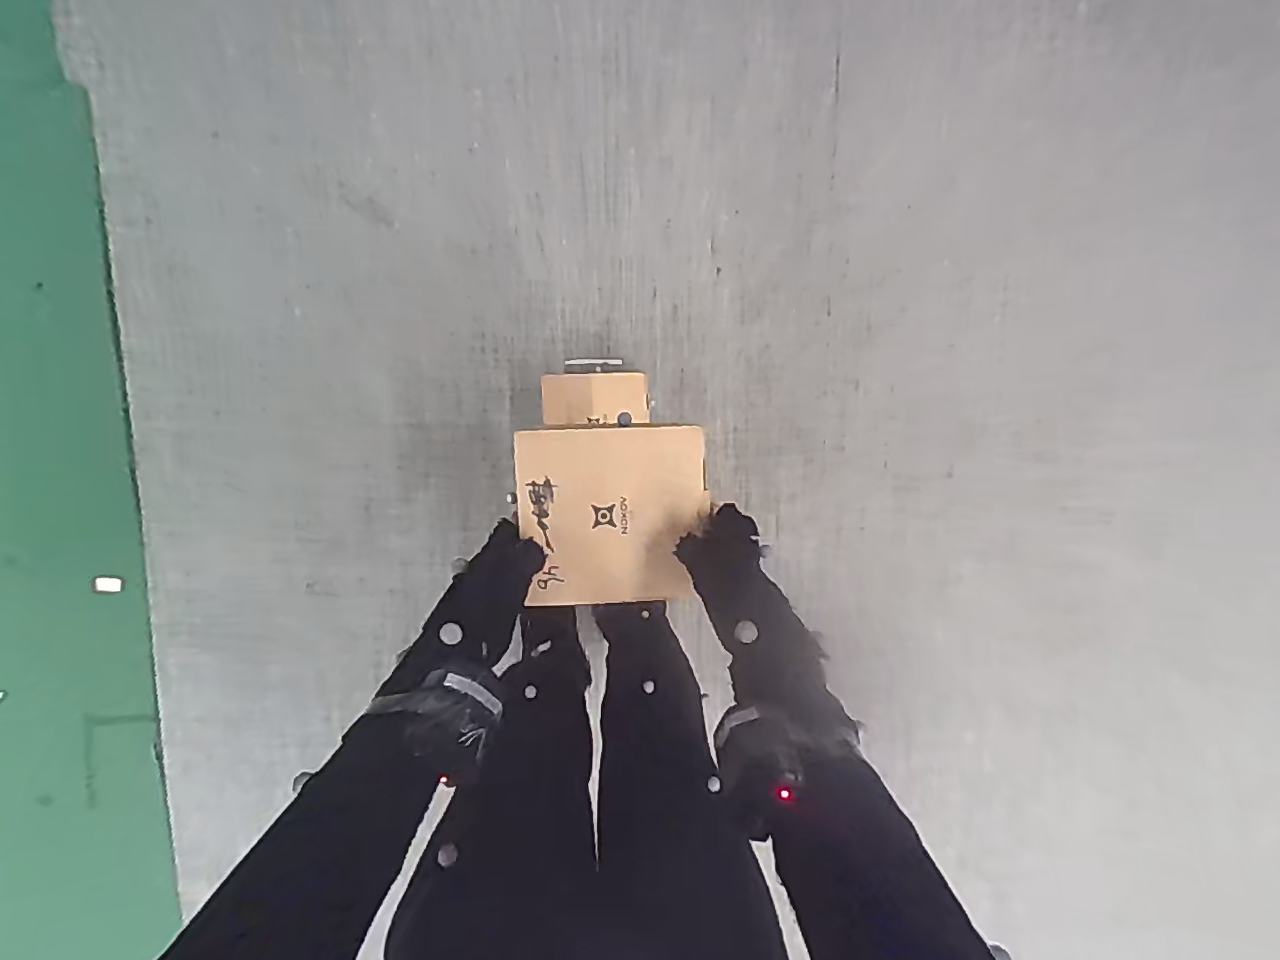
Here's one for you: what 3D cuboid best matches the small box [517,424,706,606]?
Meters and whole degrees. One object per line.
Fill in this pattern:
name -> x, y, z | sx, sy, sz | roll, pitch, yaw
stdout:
small box -> -0.031, 0.026, 0.588 | 0.179, 0.176, 0.168 | -2, 97, -3

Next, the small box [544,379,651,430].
small box -> -0.068, -0.092, 0.973 | 0.179, 0.176, 0.168 | -2, 95, 1
